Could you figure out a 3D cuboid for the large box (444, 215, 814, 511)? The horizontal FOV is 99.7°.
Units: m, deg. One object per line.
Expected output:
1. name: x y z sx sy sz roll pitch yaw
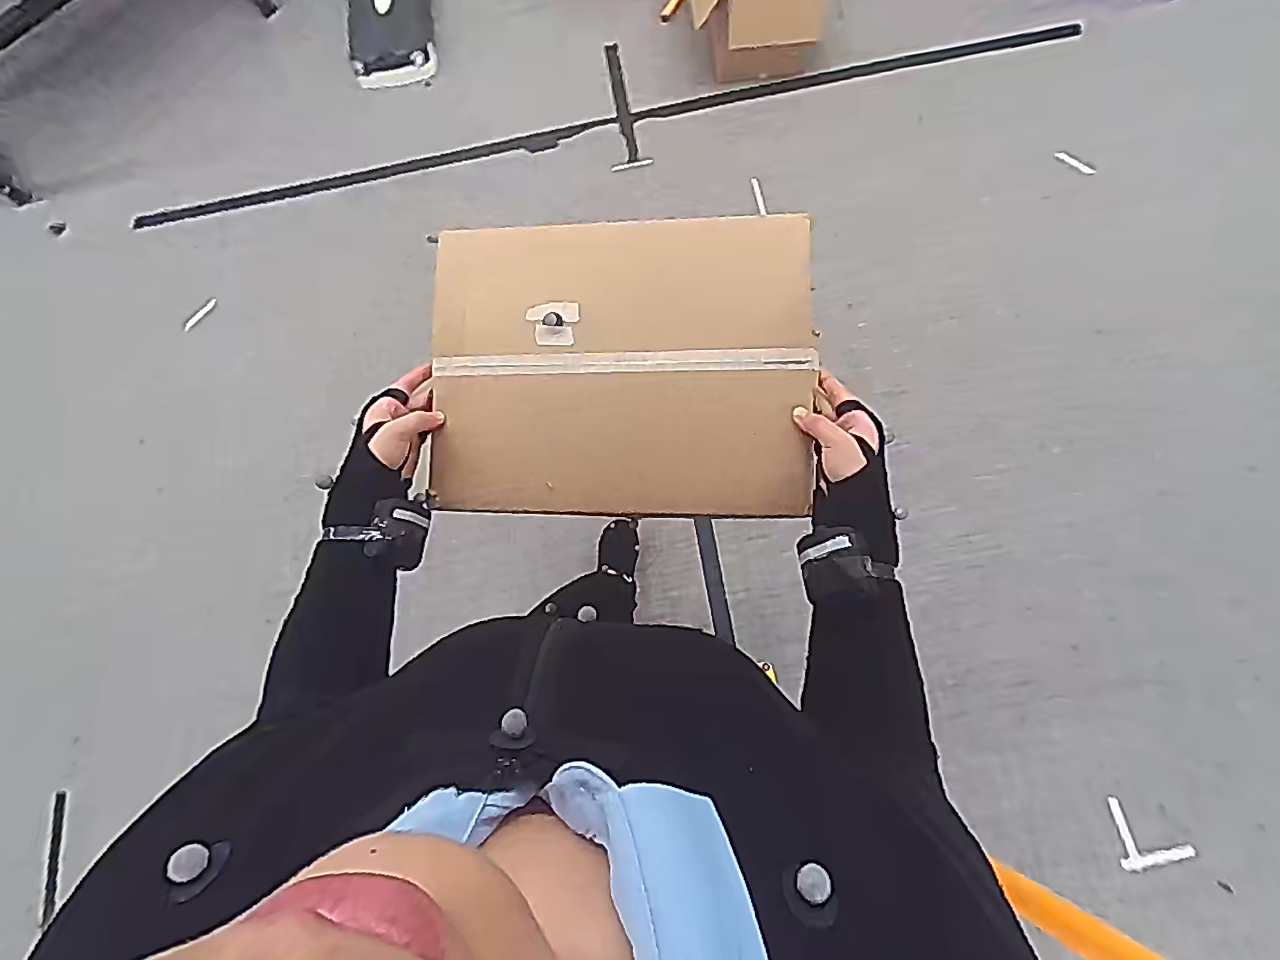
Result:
1. large box: 0.001 -0.114 0.730 0.408 0.320 0.320 0 84 8
